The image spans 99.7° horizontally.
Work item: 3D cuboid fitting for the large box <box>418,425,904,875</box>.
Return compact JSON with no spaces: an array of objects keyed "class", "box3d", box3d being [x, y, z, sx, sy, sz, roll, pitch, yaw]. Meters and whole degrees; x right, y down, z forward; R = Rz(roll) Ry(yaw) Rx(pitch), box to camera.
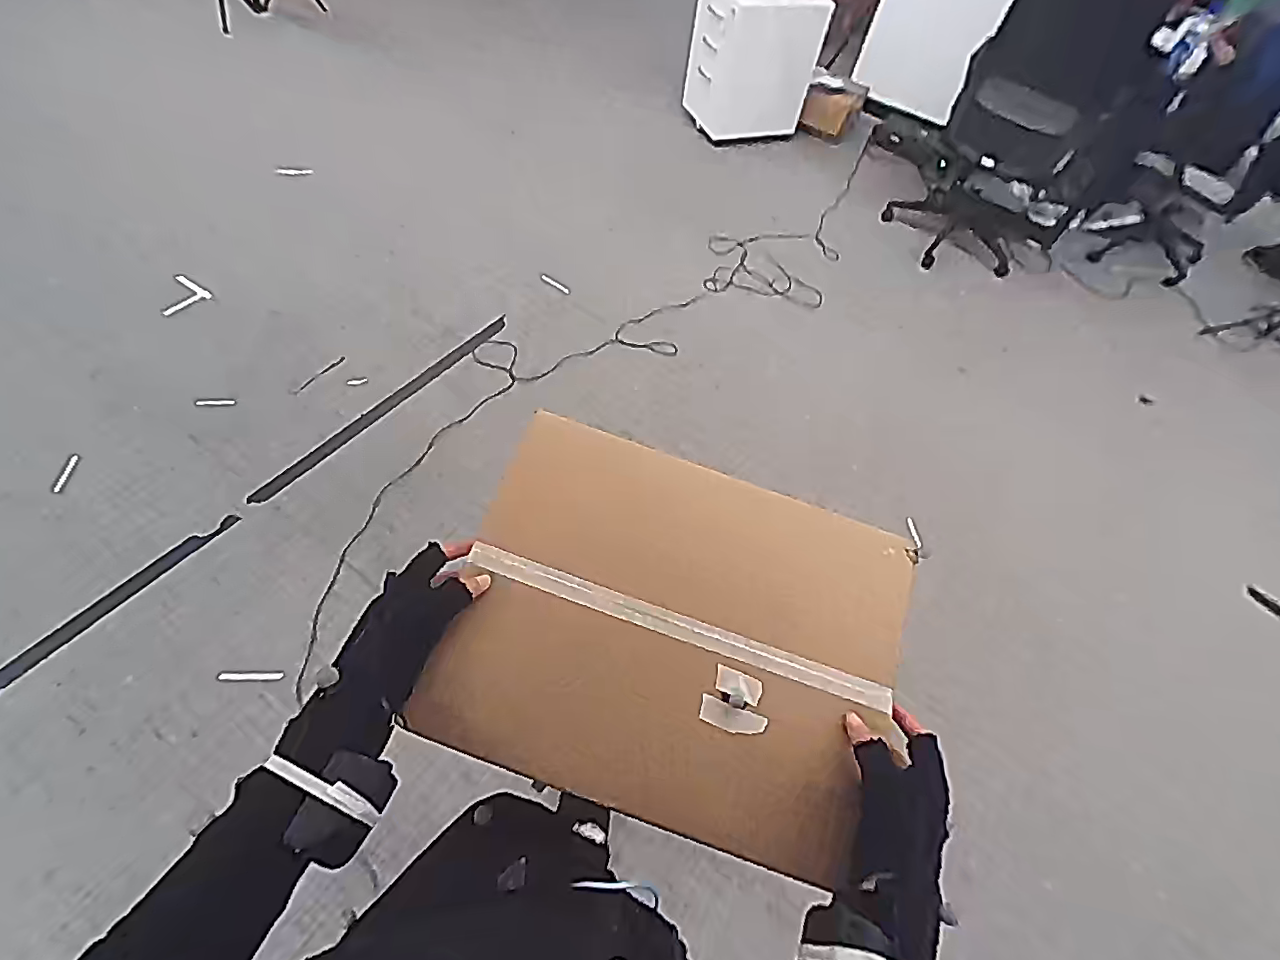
[{"class":"large box","box3d":[0.025,0.187,0.652,0.408,0.320,0.320,20,71,2]}]
